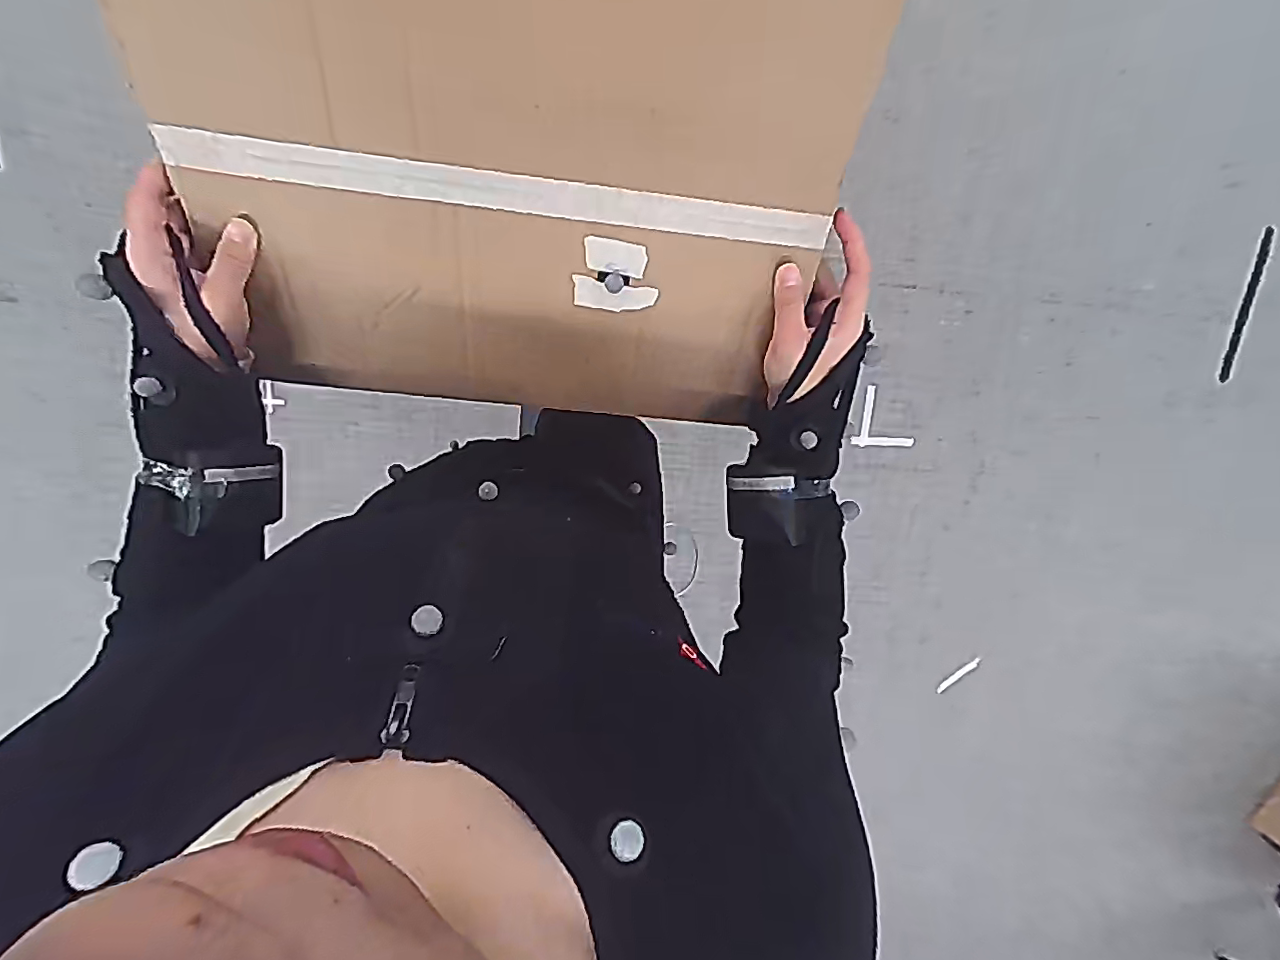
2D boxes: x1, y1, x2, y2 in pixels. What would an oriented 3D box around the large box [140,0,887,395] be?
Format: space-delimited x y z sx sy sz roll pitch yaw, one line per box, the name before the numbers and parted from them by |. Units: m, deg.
large box | -0.080 -0.294 0.450 0.408 0.320 0.320 4 130 -6
